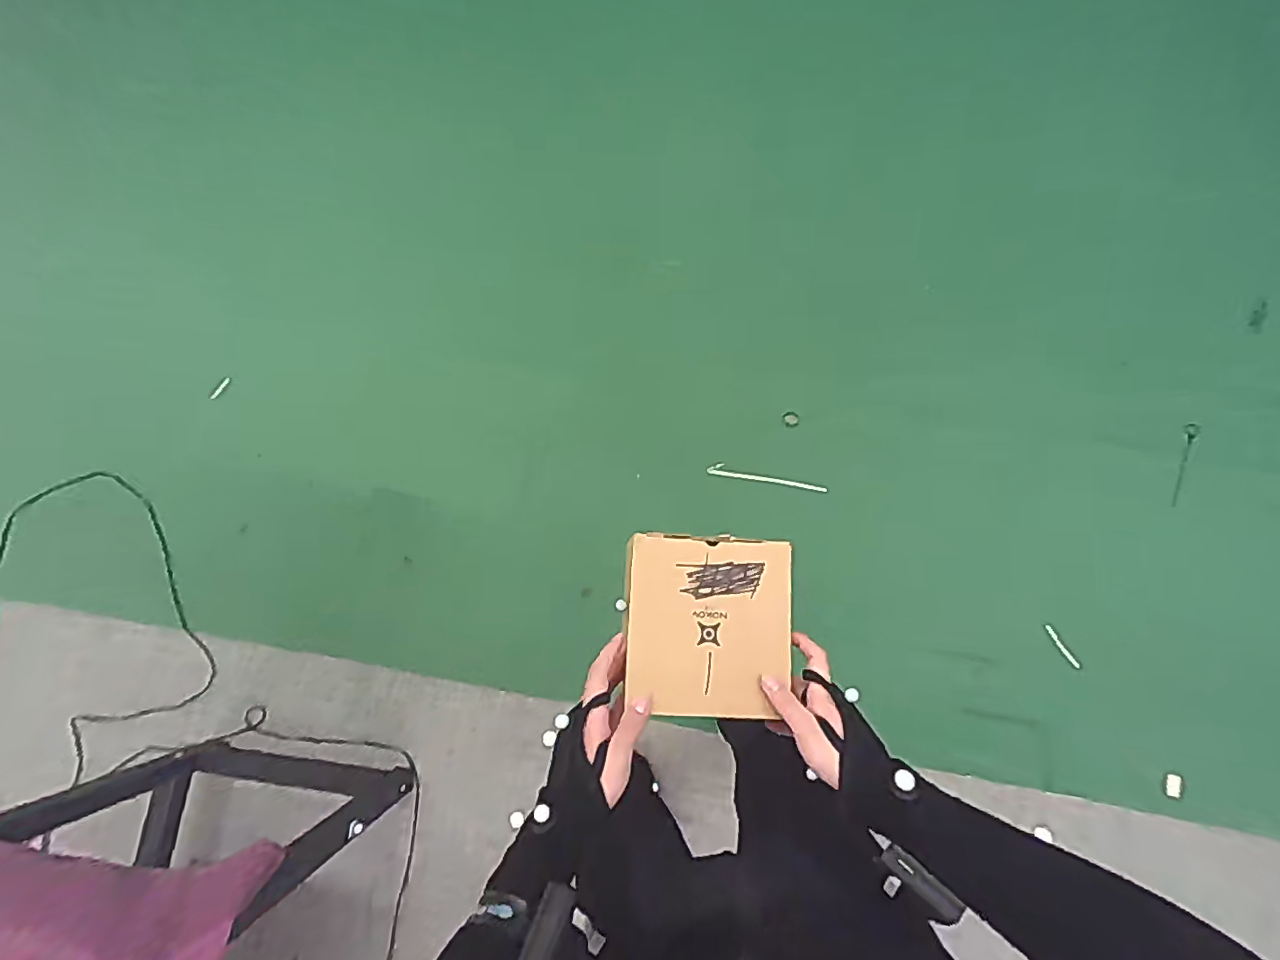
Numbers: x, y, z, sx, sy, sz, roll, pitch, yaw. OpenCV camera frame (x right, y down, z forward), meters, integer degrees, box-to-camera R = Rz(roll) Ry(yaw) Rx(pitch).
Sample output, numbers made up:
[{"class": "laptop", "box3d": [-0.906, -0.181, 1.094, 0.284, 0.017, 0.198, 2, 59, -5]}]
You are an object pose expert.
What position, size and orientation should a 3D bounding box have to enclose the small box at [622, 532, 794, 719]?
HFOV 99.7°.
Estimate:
[{"class": "small box", "box3d": [0.068, 0.158, 0.618, 0.168, 0.176, 0.179, 4, 80, -2]}]
